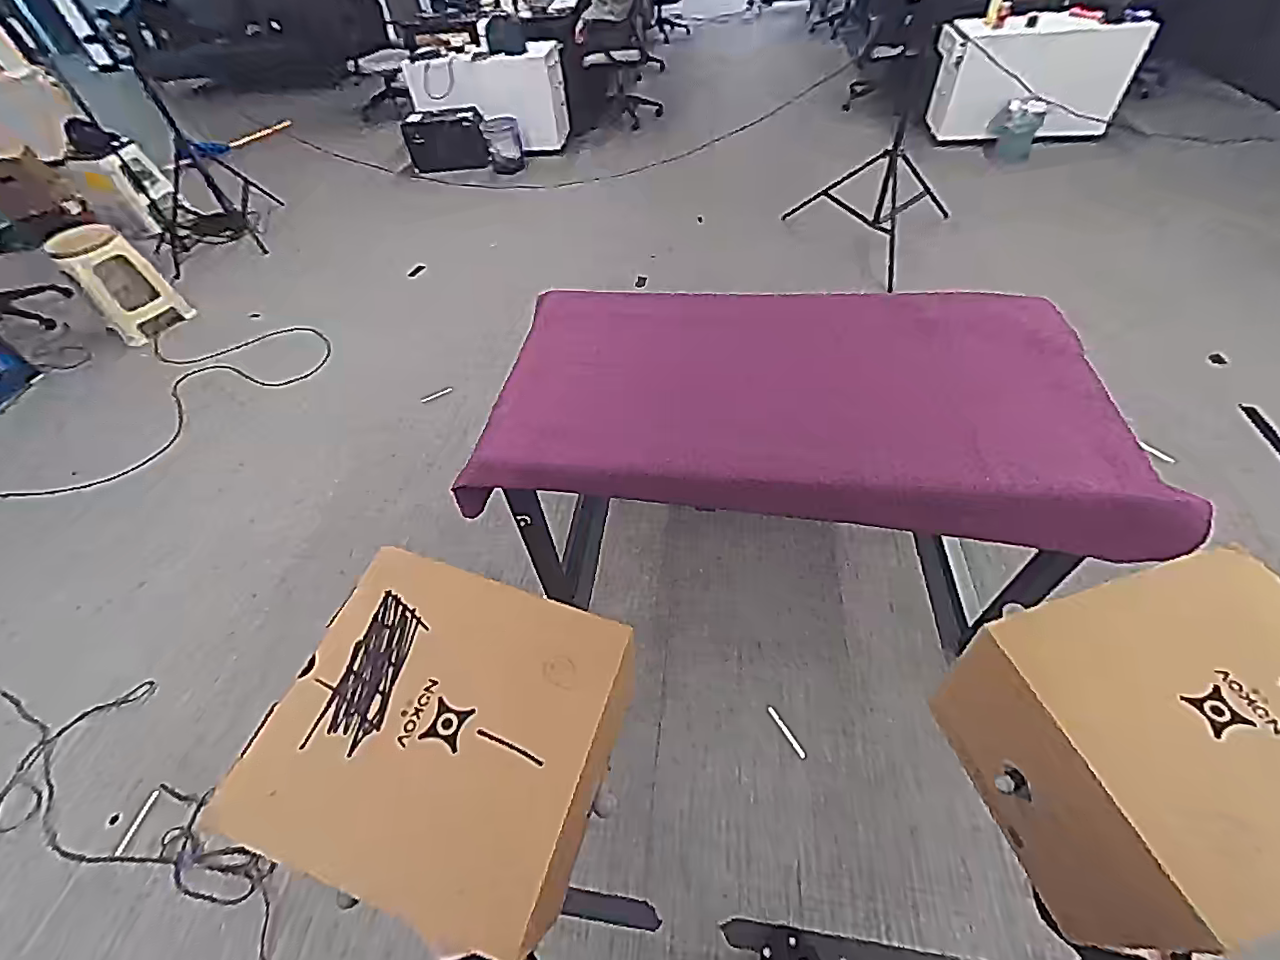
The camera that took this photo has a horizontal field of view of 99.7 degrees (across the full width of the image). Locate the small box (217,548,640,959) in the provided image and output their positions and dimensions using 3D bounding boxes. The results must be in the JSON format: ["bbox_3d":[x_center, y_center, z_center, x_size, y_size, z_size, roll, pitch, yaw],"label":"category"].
[{"bbox_3d":[-0.108,0.174,0.364,0.179,0.176,0.168,16,58,9],"label":"small box"}]

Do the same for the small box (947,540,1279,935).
[{"bbox_3d":[0.335,0.172,0.356,0.179,0.176,0.168,-18,50,-2],"label":"small box"}]
